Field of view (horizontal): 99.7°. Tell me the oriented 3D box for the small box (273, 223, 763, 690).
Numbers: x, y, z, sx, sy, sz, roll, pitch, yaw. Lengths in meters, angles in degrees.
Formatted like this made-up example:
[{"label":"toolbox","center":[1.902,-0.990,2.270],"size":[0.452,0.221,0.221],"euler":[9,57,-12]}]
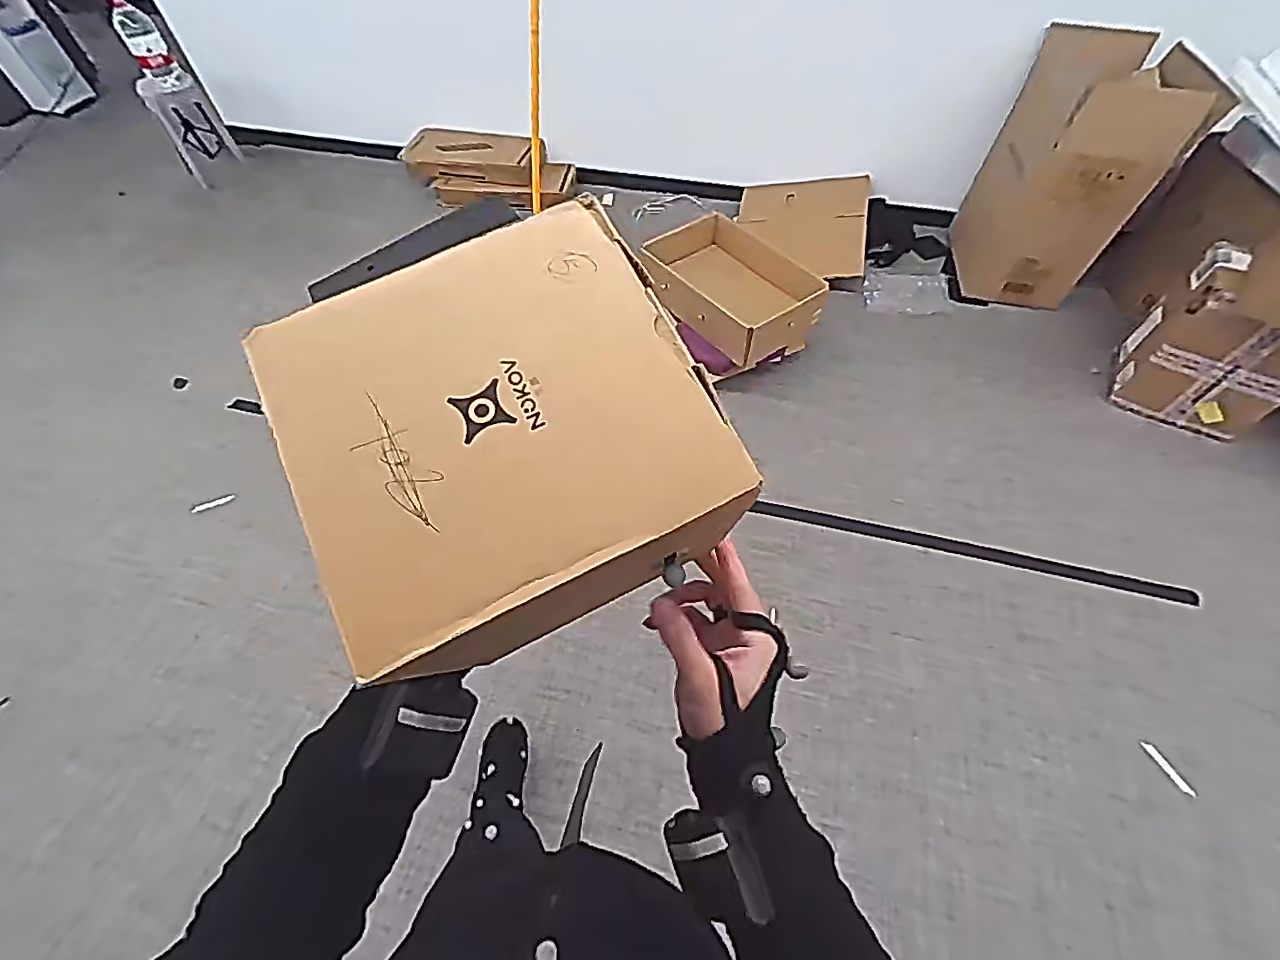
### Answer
[{"label":"small box","center":[-0.058,-0.002,0.318],"size":[0.179,0.176,0.168],"euler":[-27,75,-7]}]
